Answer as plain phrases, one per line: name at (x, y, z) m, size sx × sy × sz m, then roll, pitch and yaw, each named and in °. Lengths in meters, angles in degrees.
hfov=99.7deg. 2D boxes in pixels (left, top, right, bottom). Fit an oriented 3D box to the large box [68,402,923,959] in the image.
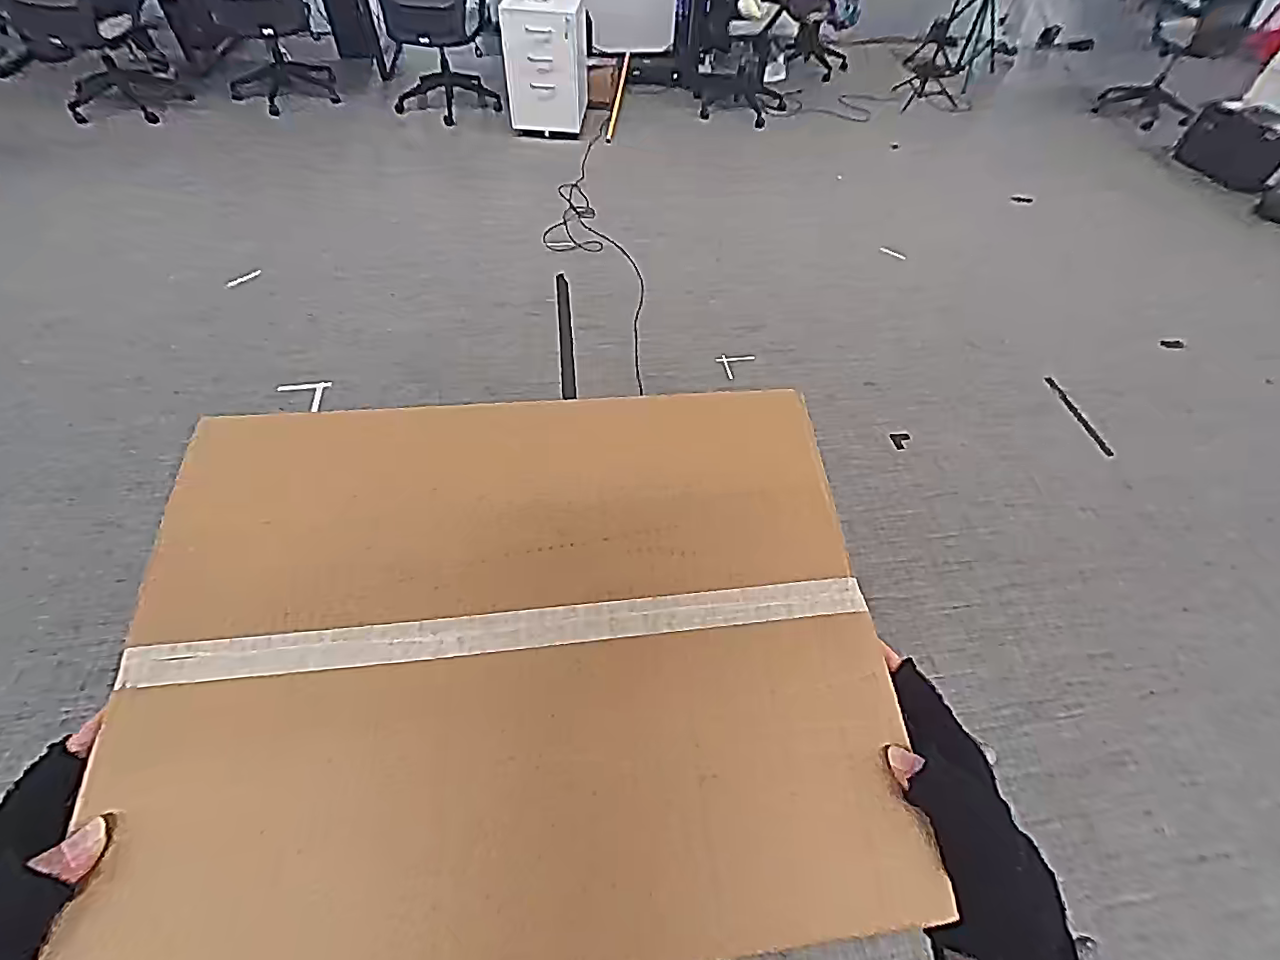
large box at (-0.078, 0.161, 0.444) m, size 0.408 × 0.320 × 0.320 m, roll -4°, pitch 62°, yaw -6°
